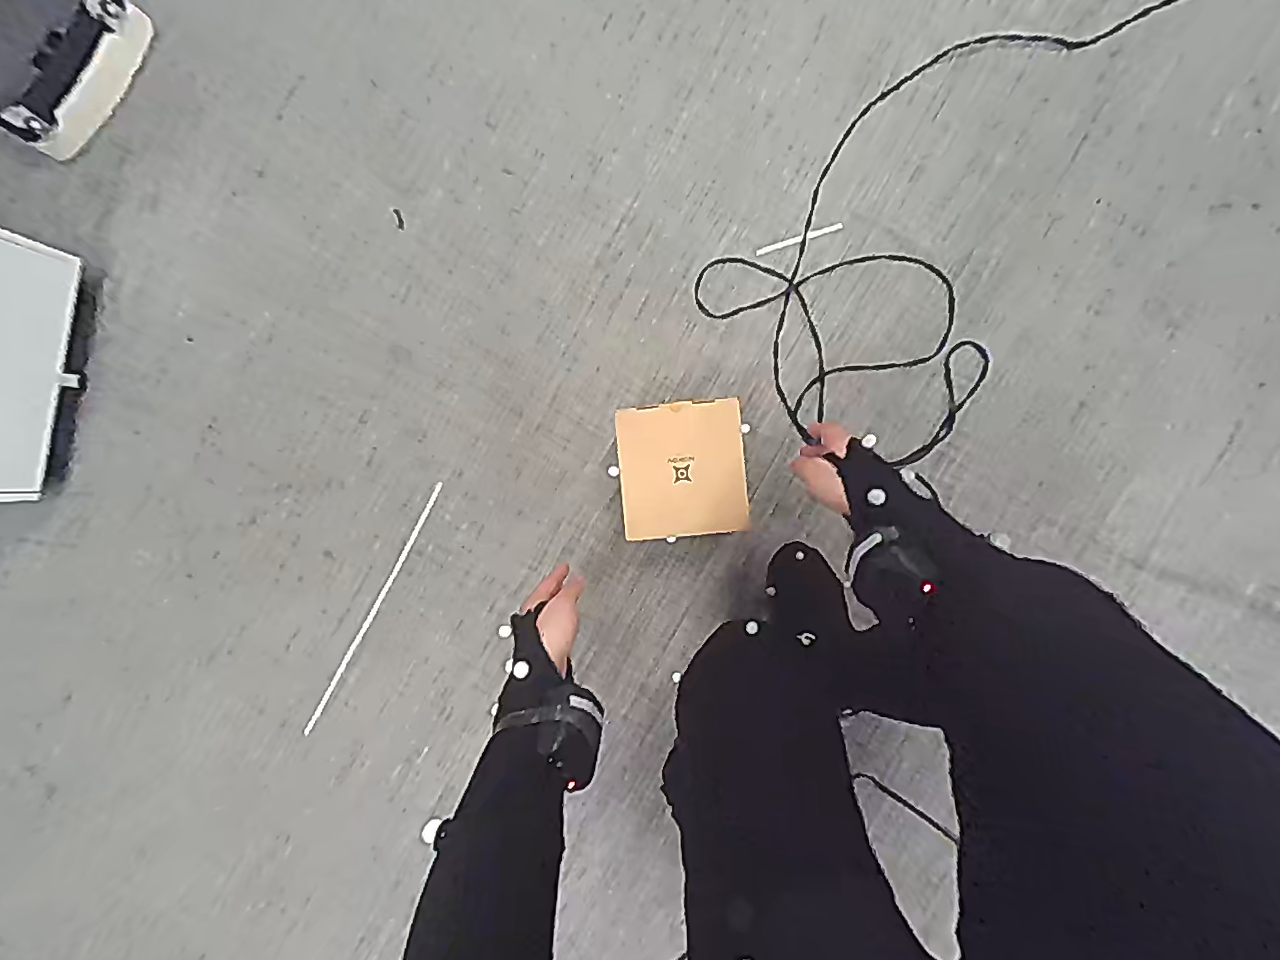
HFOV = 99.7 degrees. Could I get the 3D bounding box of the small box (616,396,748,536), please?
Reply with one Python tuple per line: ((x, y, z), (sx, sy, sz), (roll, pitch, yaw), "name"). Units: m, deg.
((0.062, -0.020, 0.797), (0.168, 0.176, 0.179), (-6, 90, 3), "small box")
